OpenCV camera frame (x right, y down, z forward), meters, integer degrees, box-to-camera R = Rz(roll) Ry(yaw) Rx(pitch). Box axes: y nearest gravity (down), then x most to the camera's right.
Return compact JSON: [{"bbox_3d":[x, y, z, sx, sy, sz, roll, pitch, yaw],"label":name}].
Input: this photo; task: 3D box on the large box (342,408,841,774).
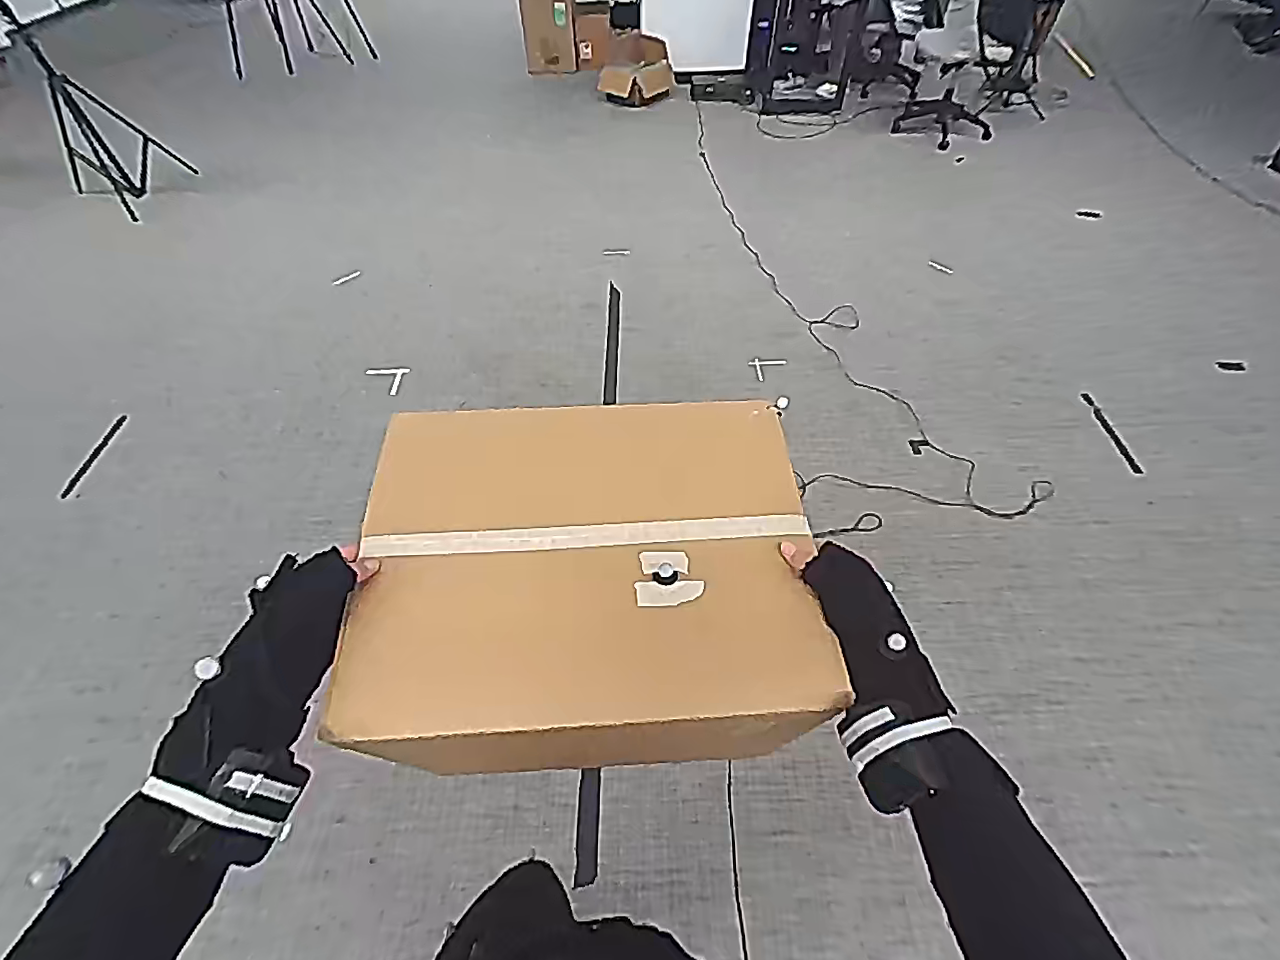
[{"bbox_3d":[-0.048,0.139,0.629,0.408,0.320,0.320,-2,57,-3],"label":"large box"}]
